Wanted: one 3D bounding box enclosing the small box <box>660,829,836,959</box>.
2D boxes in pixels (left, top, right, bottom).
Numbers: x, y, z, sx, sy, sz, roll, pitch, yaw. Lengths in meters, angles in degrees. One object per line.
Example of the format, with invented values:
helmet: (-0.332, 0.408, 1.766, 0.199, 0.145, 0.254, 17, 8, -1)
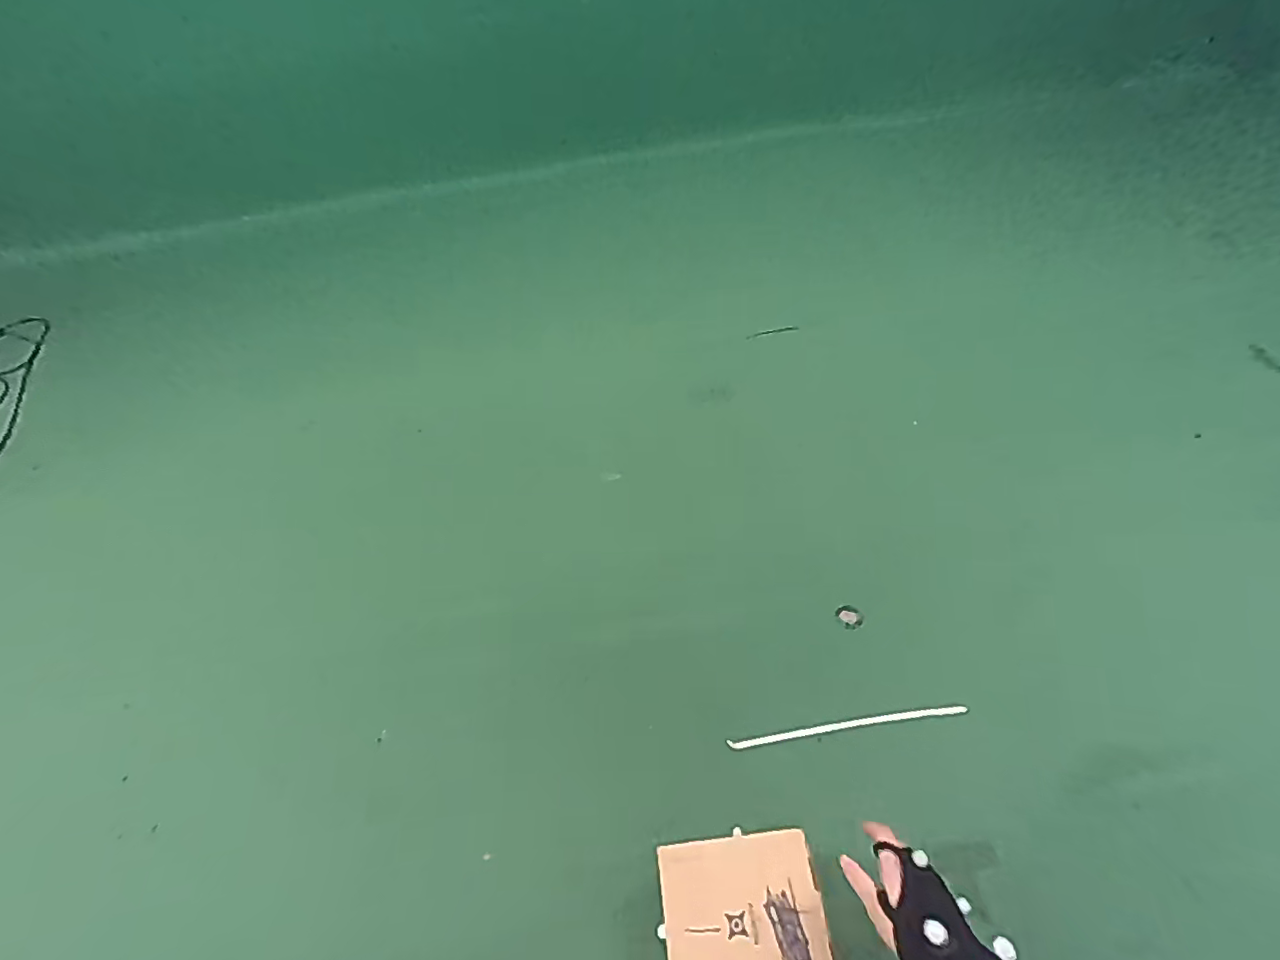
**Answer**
small box: (0.124, 0.535, 0.648, 0.179, 0.176, 0.168, -9, 49, 2)
